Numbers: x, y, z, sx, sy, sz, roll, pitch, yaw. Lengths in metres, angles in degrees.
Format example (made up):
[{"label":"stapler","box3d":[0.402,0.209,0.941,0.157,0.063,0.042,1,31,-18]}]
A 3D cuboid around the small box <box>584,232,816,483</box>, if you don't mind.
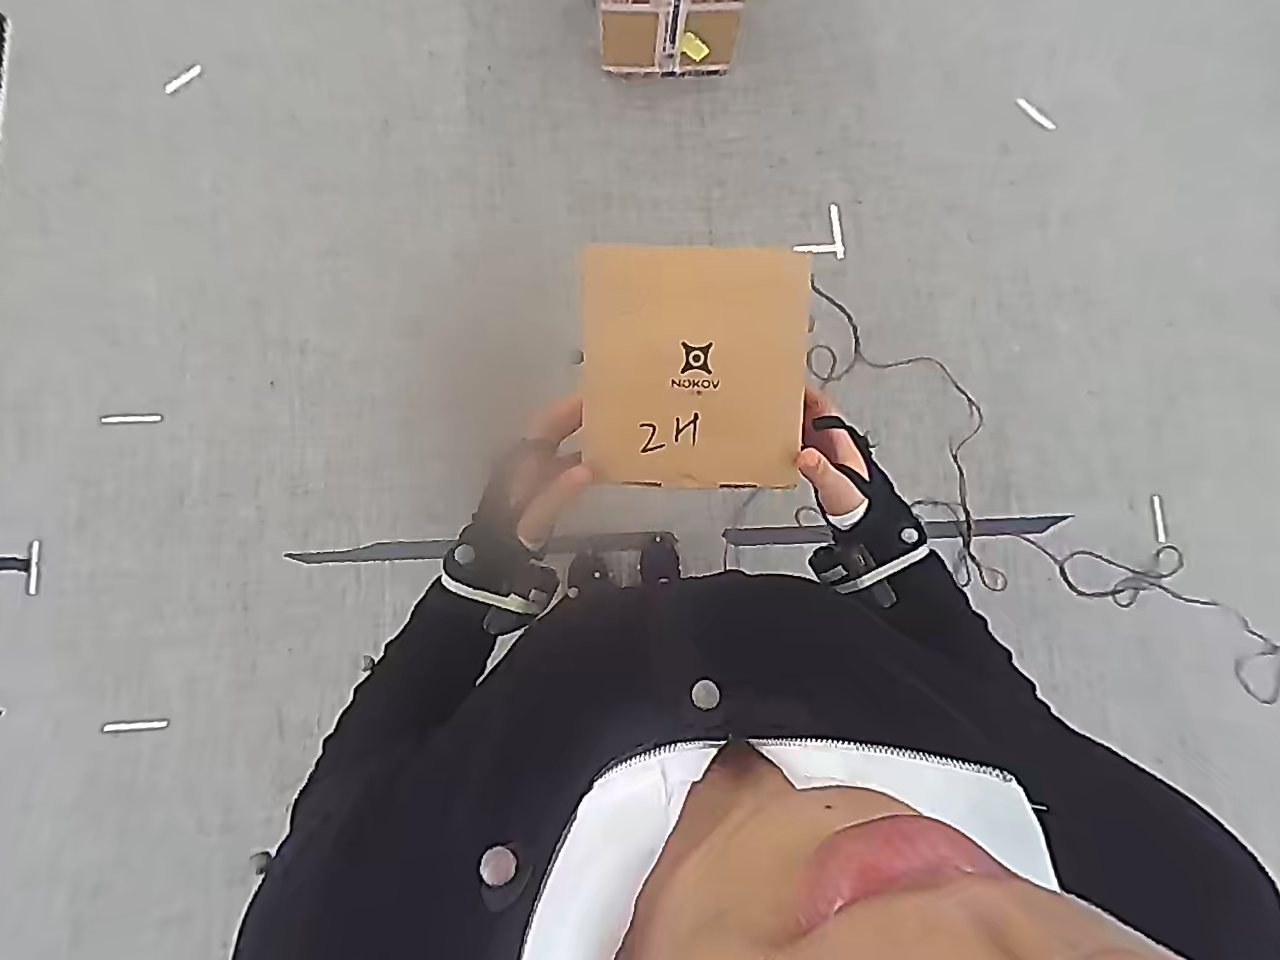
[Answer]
[{"label":"small box","box3d":[0.041,-0.095,0.476,0.168,0.176,0.179,2,96,-1]}]
